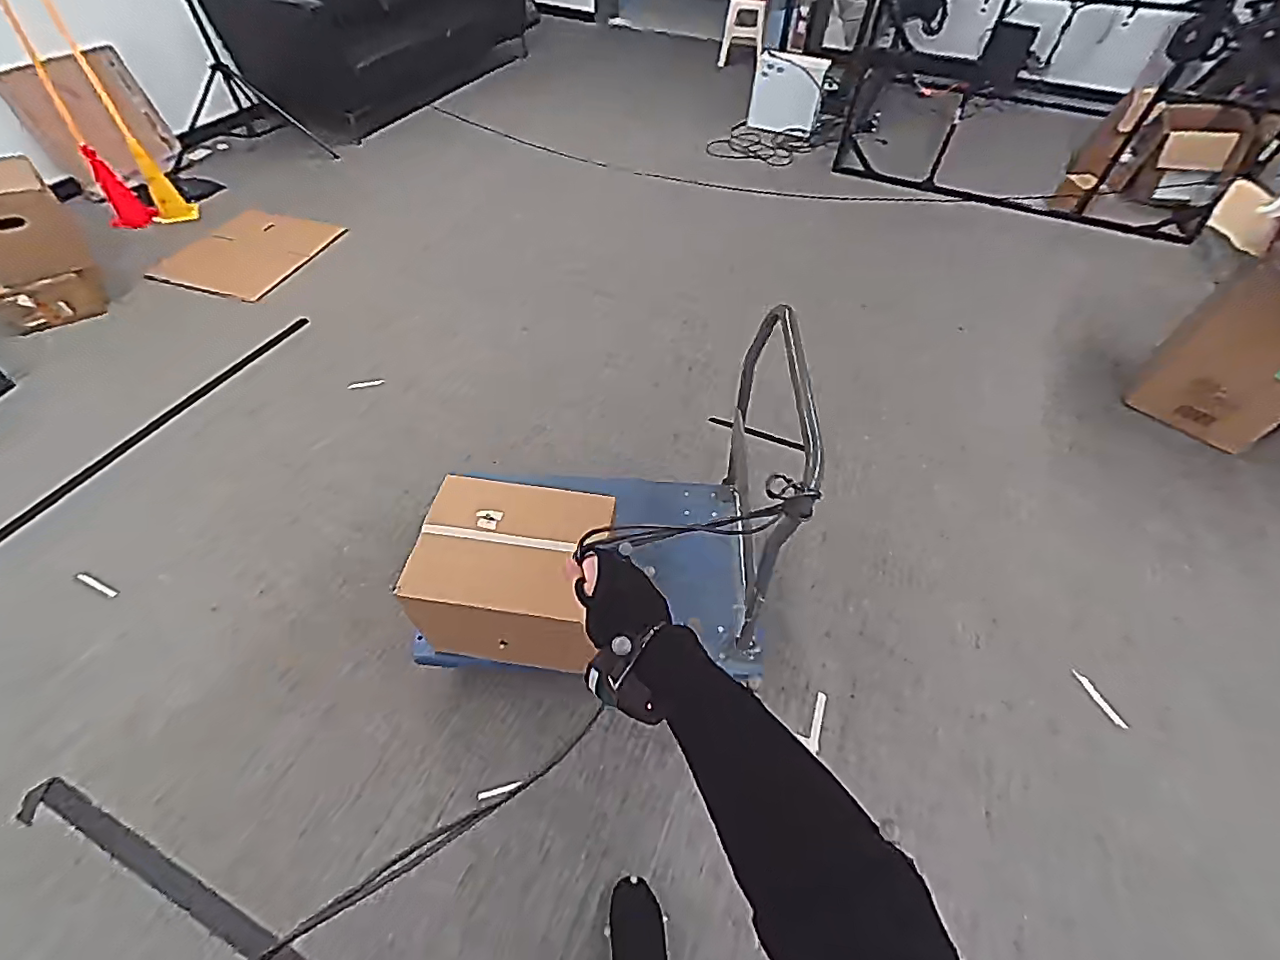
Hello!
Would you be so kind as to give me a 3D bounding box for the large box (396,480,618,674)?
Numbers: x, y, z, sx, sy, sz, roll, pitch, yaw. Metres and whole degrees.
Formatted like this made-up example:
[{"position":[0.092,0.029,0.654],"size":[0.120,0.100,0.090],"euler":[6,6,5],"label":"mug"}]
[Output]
[{"position":[-0.270,0.233,1.265],"size":[0.408,0.320,0.320],"euler":[8,51,4],"label":"large box"}]
